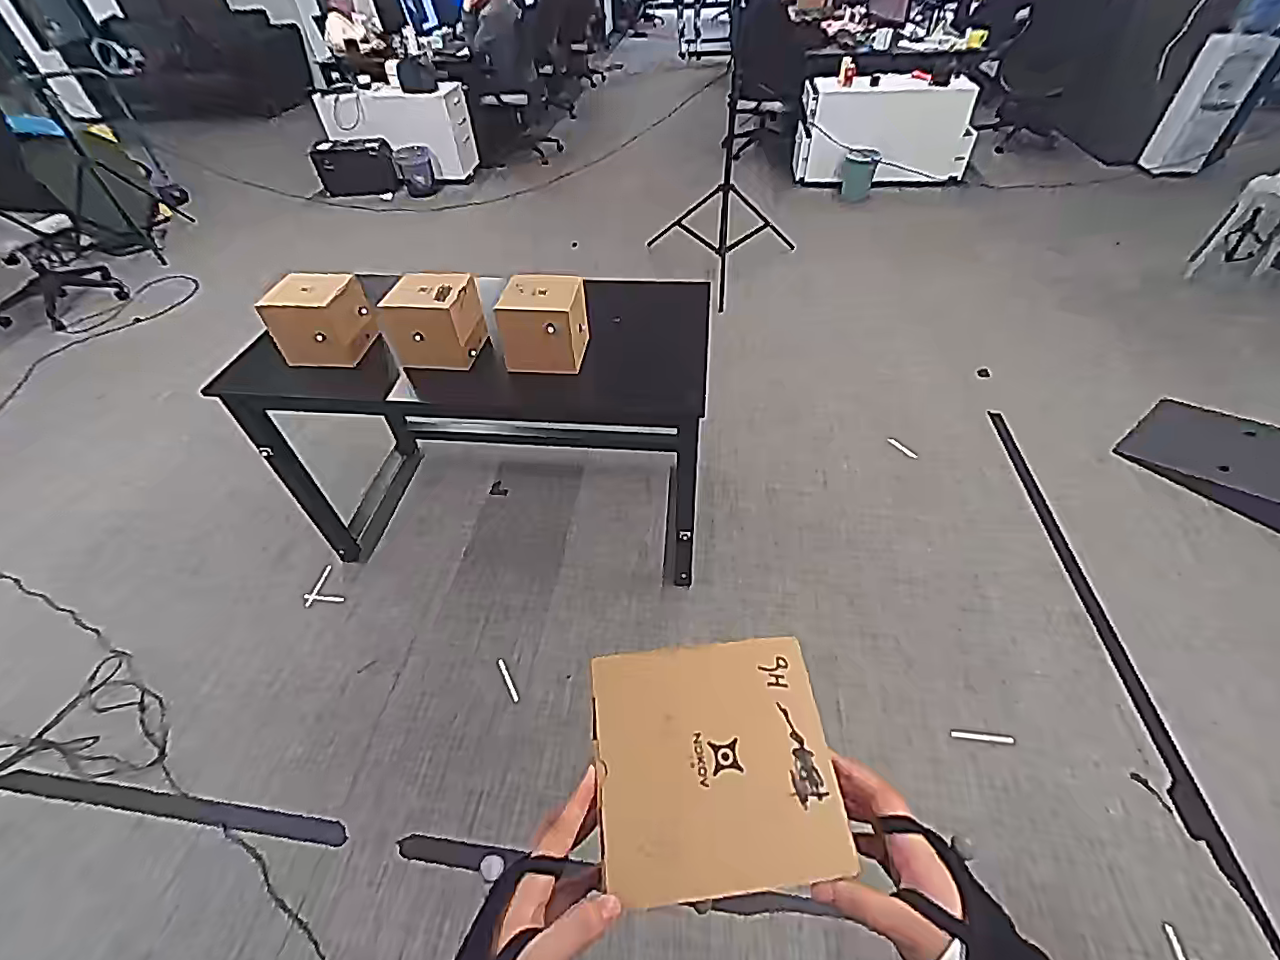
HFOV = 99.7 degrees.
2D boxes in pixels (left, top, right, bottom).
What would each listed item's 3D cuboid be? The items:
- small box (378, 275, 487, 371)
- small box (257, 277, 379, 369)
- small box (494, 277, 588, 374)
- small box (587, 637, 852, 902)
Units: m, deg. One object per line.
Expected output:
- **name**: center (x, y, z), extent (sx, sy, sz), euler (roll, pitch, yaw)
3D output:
- **small box**: center (-0.498, -0.384, 1.331), extent (0.179, 0.176, 0.168), euler (3, 47, 7)
- **small box**: center (-0.792, -0.391, 1.355), extent (0.179, 0.176, 0.168), euler (1, 46, 4)
- **small box**: center (-0.229, -0.371, 1.303), extent (0.179, 0.176, 0.168), euler (3, 46, 6)
- **small box**: center (0.051, 0.250, 0.470), extent (0.179, 0.176, 0.168), euler (-5, 57, -5)
